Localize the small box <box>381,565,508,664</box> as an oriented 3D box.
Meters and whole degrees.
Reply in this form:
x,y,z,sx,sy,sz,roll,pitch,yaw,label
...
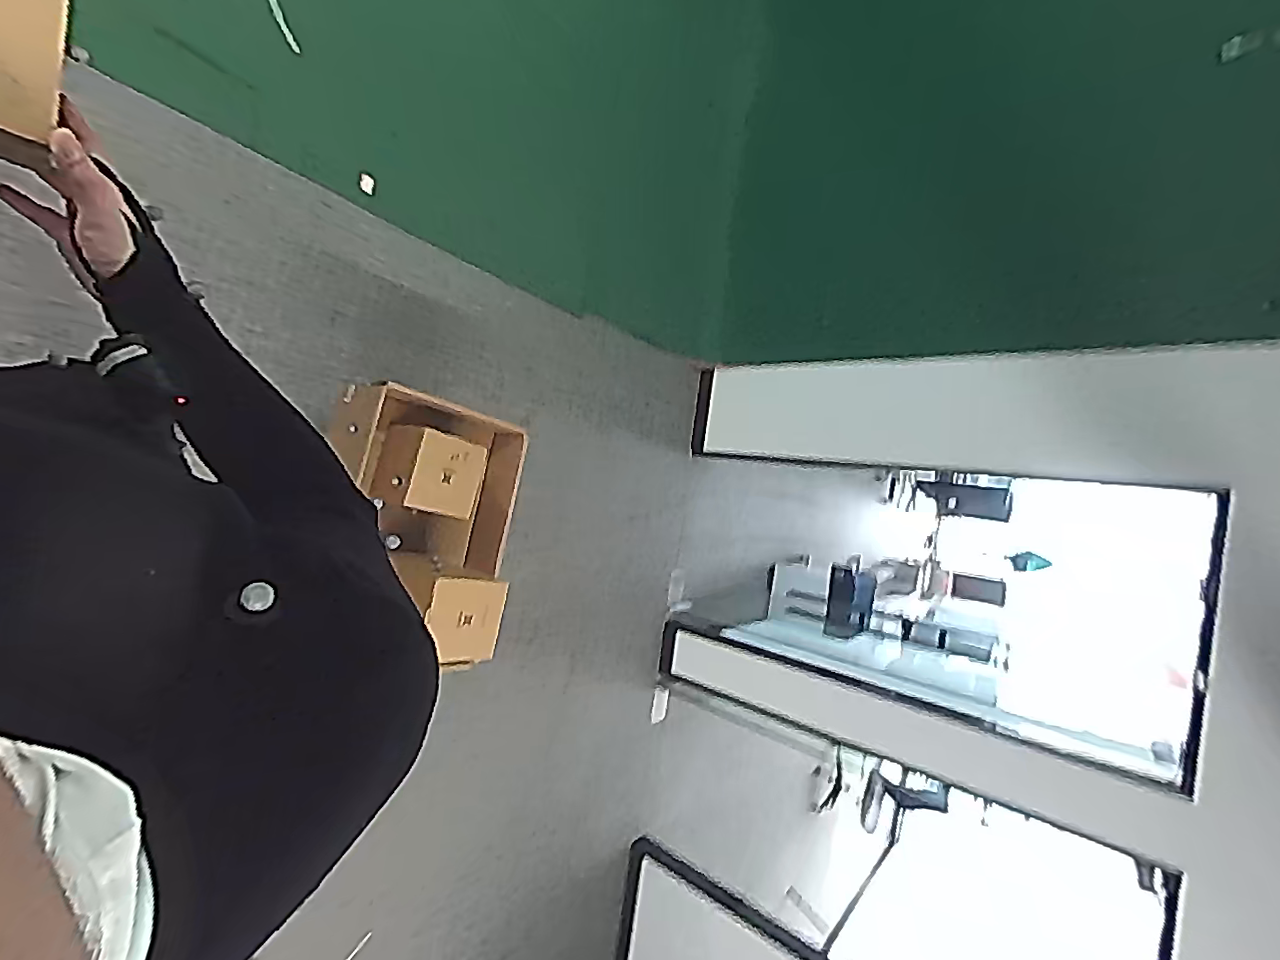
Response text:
x,y,z,sx,sy,sz,roll,pitch,yaw,label
-0.413,0.279,1.139,0.179,0.176,0.168,19,81,-50,small box
